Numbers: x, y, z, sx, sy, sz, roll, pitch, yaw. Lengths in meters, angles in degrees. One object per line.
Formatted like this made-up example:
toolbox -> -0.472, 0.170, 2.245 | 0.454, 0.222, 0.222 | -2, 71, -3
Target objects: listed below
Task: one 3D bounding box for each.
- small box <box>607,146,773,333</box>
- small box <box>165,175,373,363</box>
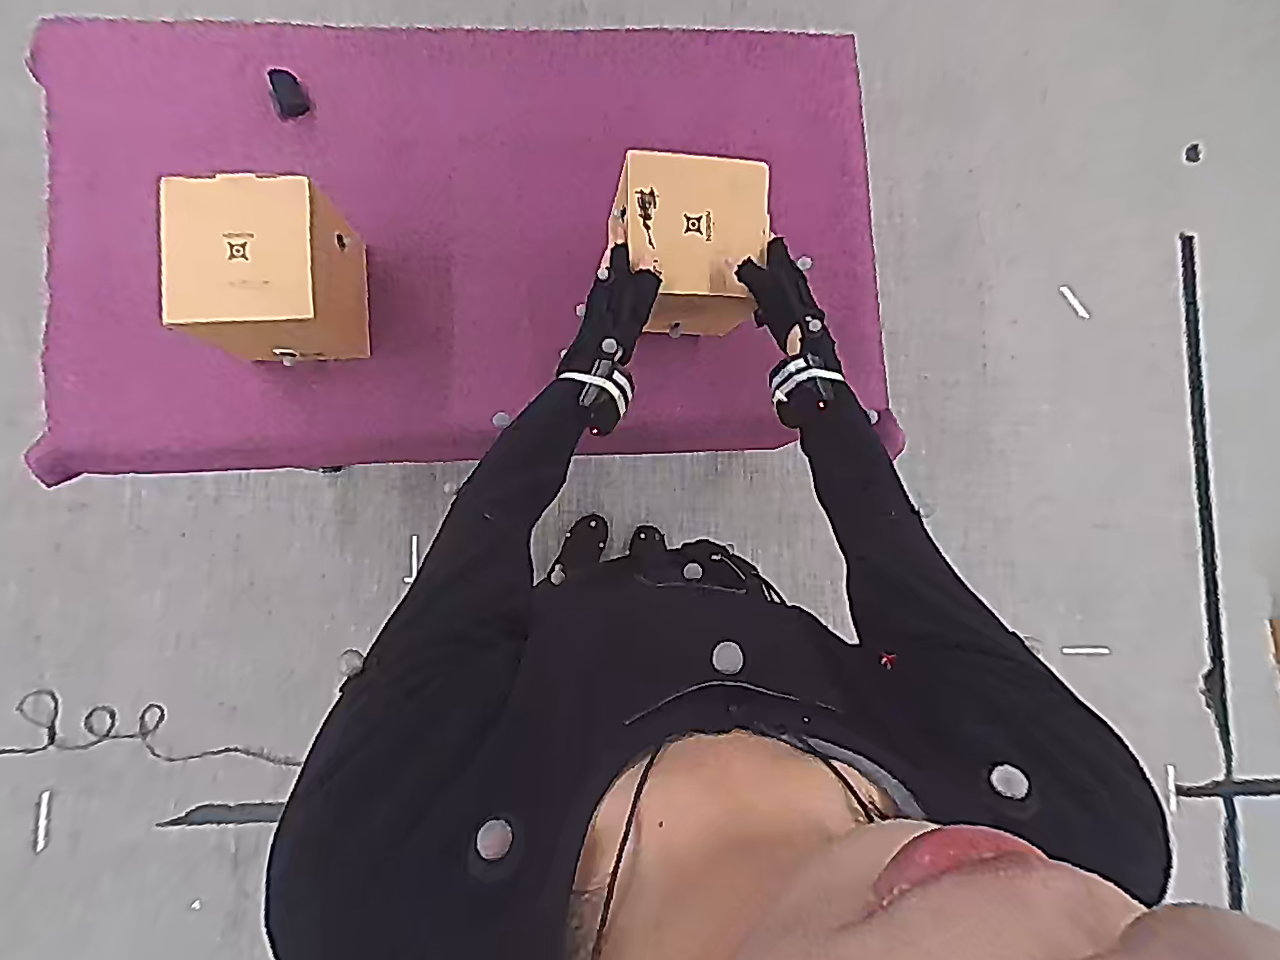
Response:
small box -> 0.057, -0.297, 0.708 | 0.179, 0.176, 0.168 | 0, 90, -11
small box -> -0.466, -0.263, 0.703 | 0.168, 0.176, 0.179 | -4, 87, -5
